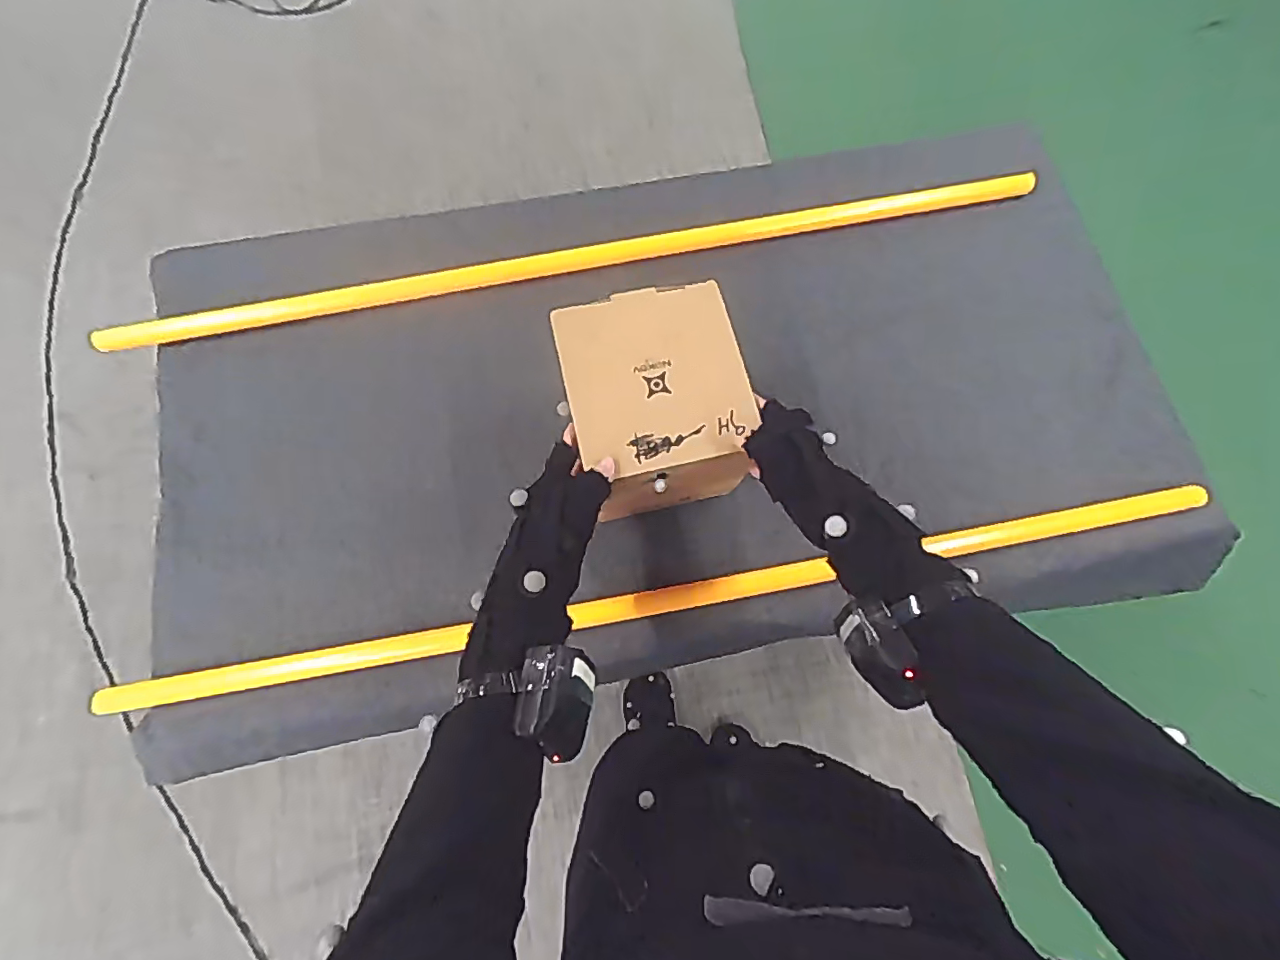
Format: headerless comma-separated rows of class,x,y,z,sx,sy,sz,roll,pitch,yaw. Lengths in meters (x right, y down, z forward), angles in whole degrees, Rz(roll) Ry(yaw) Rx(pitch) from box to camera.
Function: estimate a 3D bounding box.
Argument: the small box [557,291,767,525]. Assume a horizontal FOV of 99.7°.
small box,0.014,-0.066,0.576,0.168,0.176,0.179,-13,75,-5
